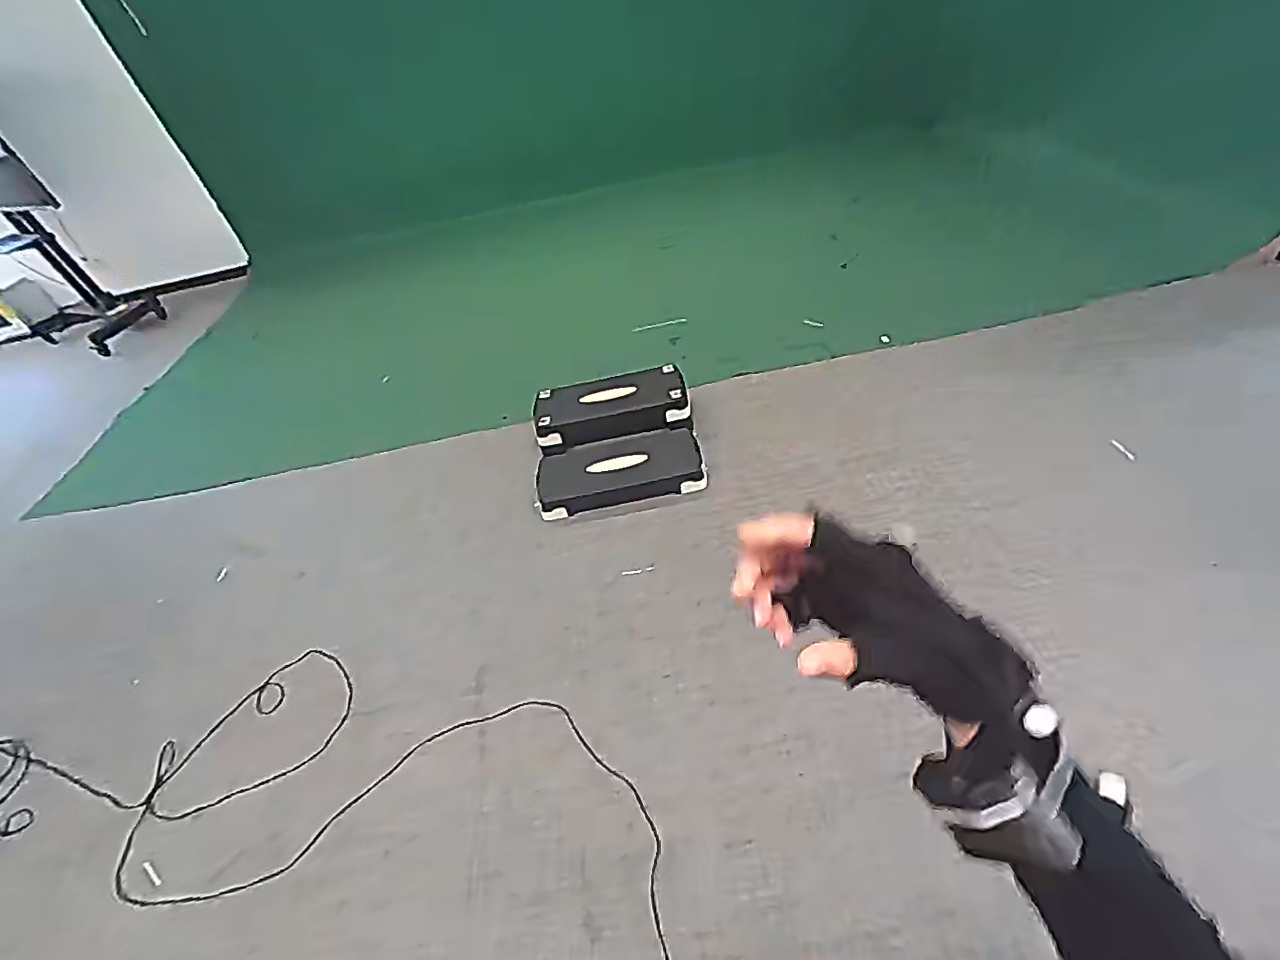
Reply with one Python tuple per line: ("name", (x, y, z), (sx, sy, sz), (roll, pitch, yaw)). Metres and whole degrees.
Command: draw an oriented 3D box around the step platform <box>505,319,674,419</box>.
("step platform", (-0.202, -0.464, 2.257), (0.684, 0.204, 0.286), (-12, 44, 2))
